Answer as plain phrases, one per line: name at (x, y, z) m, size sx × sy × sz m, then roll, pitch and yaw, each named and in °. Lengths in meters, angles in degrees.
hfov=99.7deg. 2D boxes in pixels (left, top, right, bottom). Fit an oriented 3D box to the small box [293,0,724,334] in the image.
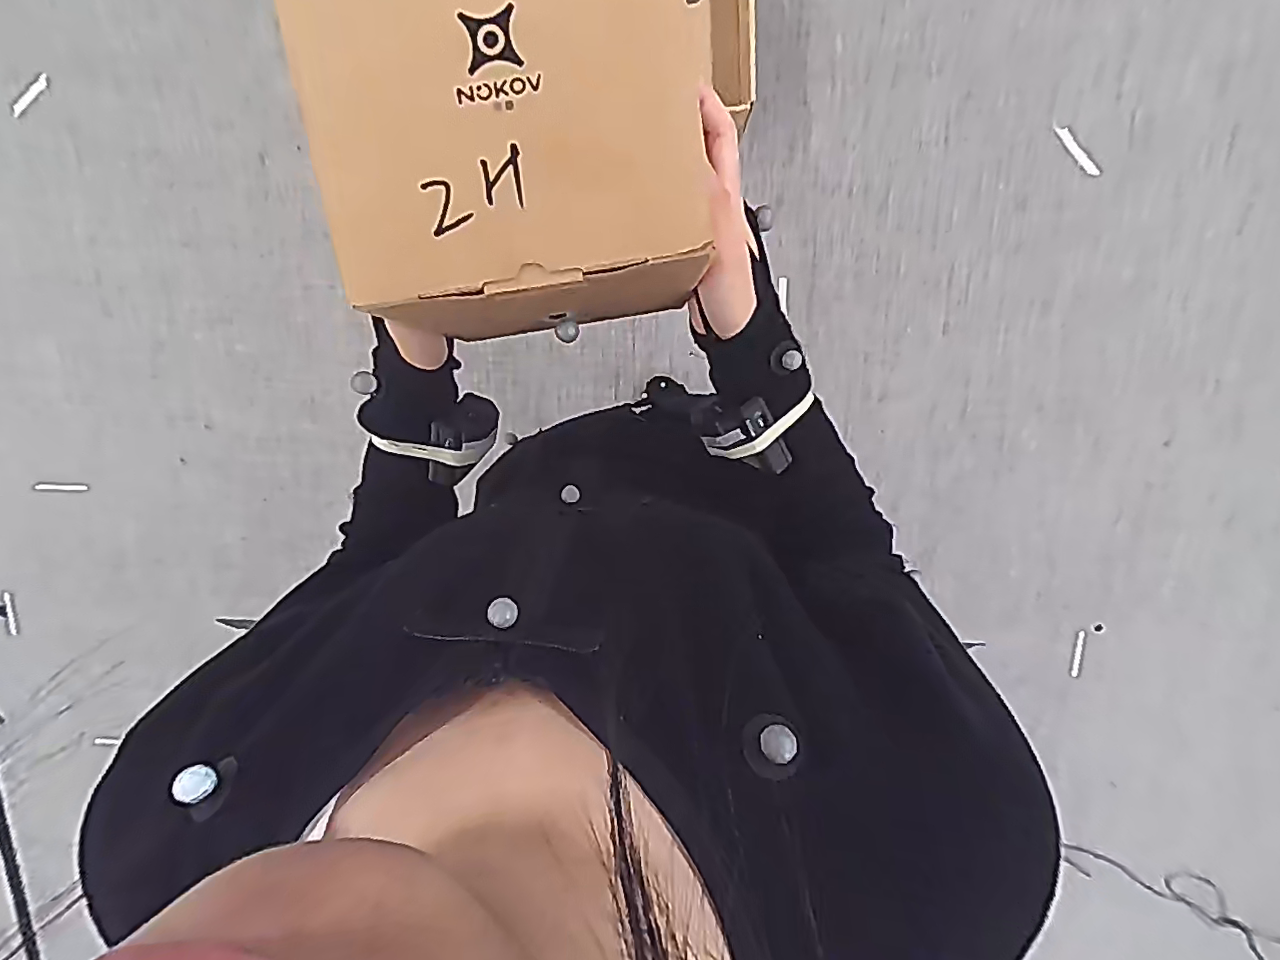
small box at (-0.057, -0.189, 0.301) m, size 0.168 × 0.176 × 0.179 m, roll -9°, pitch 100°, yaw 1°
